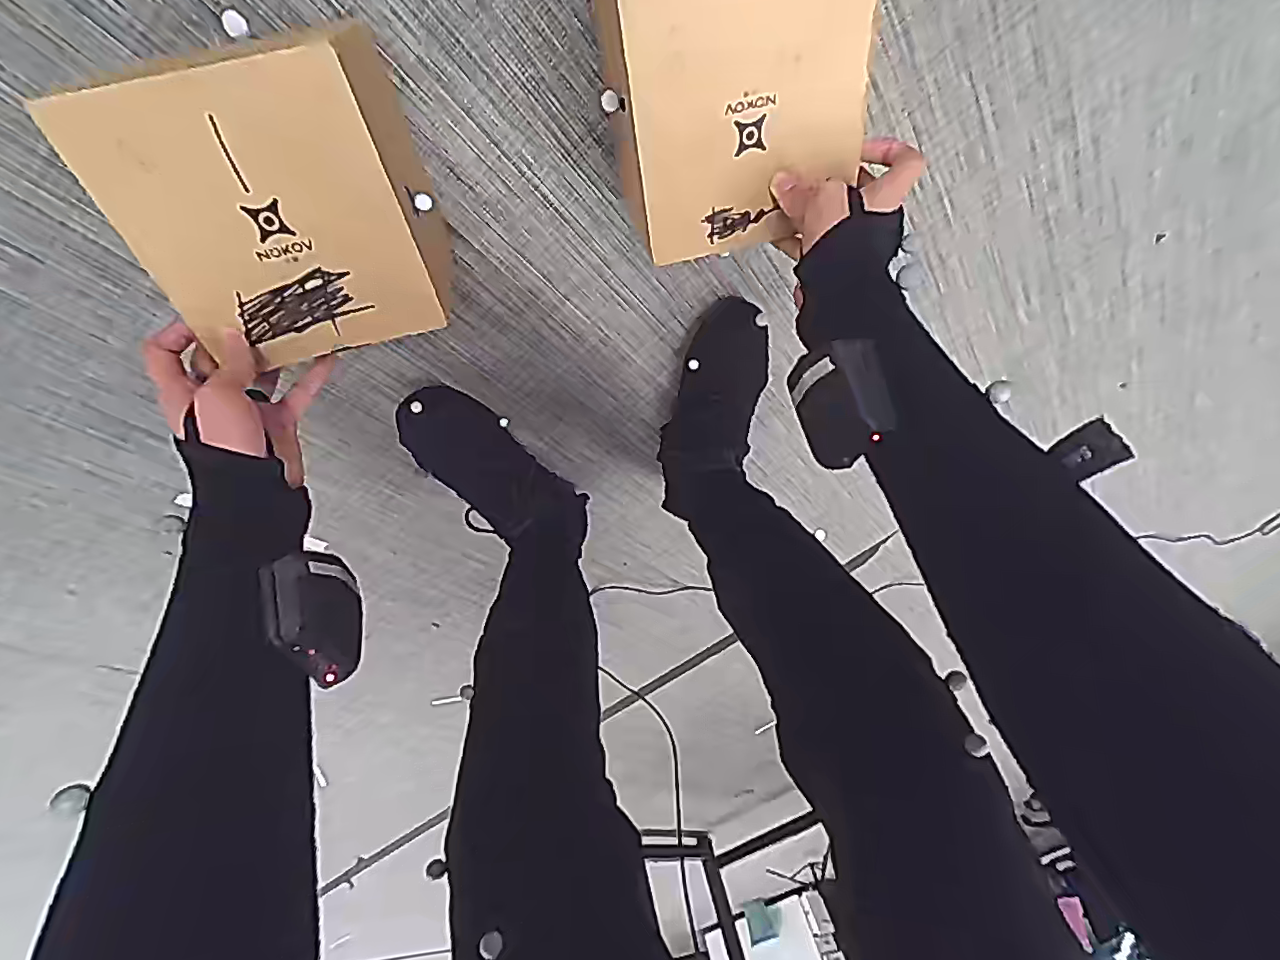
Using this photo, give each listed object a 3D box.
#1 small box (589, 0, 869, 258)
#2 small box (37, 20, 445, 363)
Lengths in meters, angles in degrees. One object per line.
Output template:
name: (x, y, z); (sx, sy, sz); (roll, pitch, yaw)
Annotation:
small box: (0.060, -0.310, 0.435); (0.168, 0.176, 0.179); (-13, 134, -1)
small box: (-0.258, -0.222, 0.415); (0.168, 0.176, 0.179); (-16, 134, -5)
